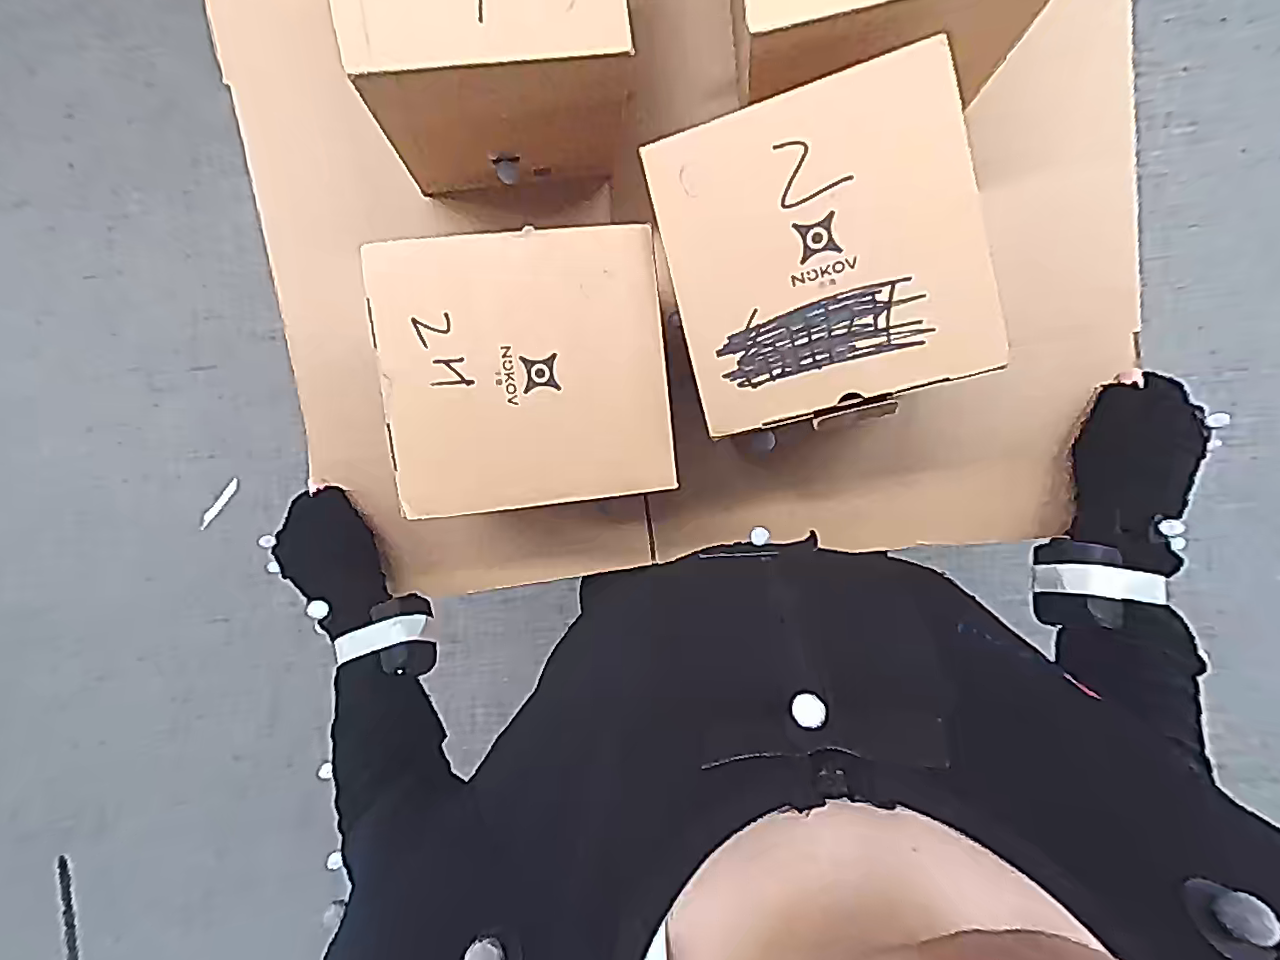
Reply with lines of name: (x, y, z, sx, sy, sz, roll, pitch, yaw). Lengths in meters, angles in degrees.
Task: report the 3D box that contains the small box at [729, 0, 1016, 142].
small box: (0.140, -0.349, 0.348, 0.168, 0.176, 0.179, -5, 96, 11)
